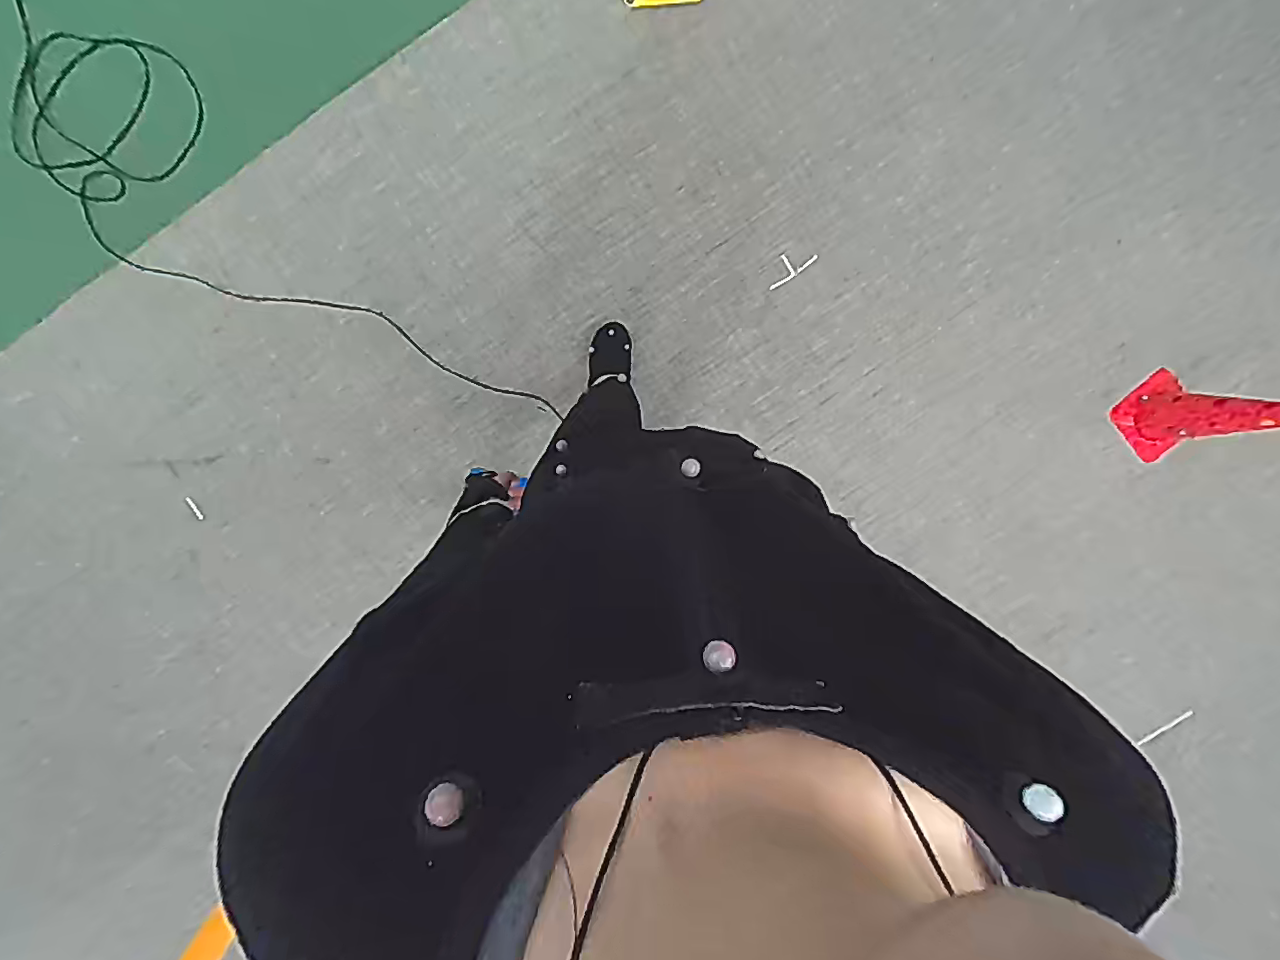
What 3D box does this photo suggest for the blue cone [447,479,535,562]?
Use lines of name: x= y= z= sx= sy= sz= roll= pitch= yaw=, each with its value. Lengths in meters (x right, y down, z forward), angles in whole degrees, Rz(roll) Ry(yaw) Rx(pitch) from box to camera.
blue cone: x=-0.380 y=0.125 z=1.304 sx=0.192 sy=0.380 sz=0.193 roll=10 pitch=99 yaw=-4
